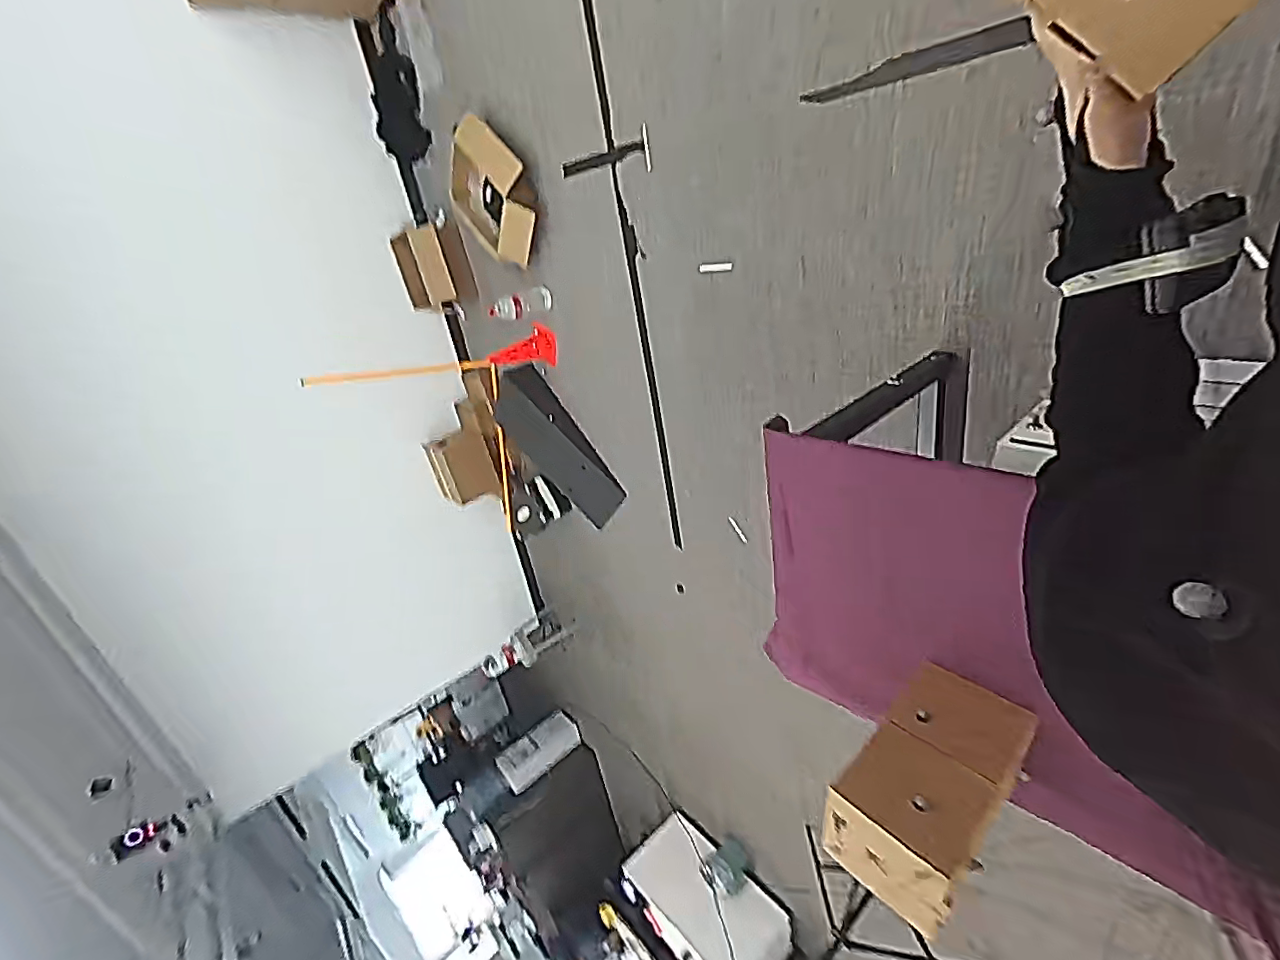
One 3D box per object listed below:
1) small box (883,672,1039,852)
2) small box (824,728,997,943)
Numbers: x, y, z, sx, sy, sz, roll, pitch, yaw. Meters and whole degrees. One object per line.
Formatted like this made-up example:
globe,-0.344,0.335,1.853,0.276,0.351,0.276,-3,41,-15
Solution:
small box,0.524,0.454,0.904,0.179,0.176,0.168,23,130,44
small box,0.404,0.518,0.813,0.179,0.176,0.168,24,130,43
